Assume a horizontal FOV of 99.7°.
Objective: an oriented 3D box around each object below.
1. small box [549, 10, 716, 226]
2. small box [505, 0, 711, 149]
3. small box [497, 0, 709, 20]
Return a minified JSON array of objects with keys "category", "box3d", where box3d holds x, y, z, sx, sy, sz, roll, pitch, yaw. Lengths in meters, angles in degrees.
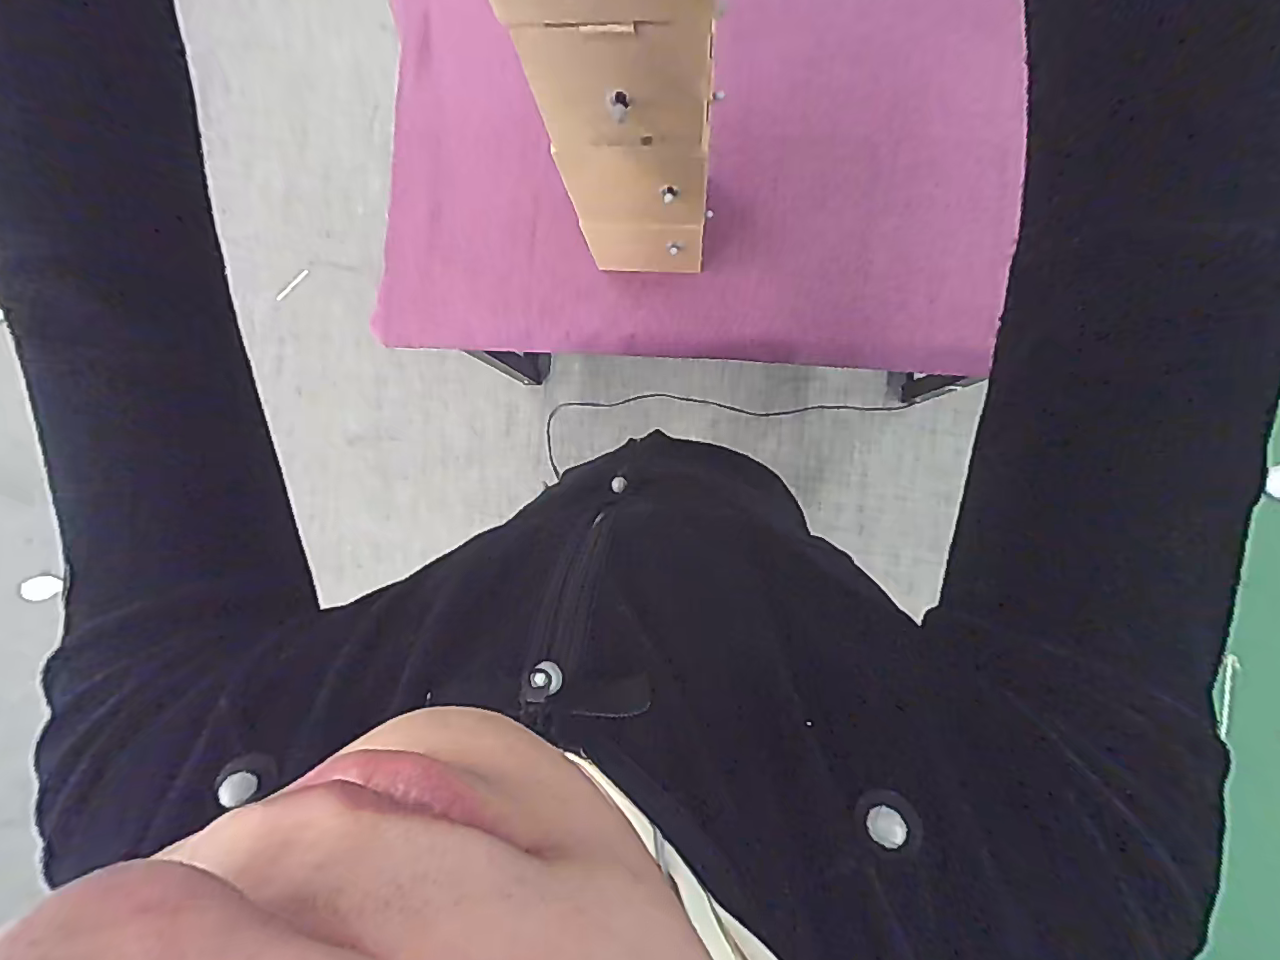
[{"category":"small box","box3d":[-0.002,-0.436,0.674,0.179,0.176,0.168,4,89,6]},{"category":"small box","box3d":[-0.018,-0.445,0.512,0.168,0.176,0.179,3,90,5]},{"category":"small box","box3d":[-0.031,-0.444,0.349,0.179,0.176,0.168,2,89,4]}]
